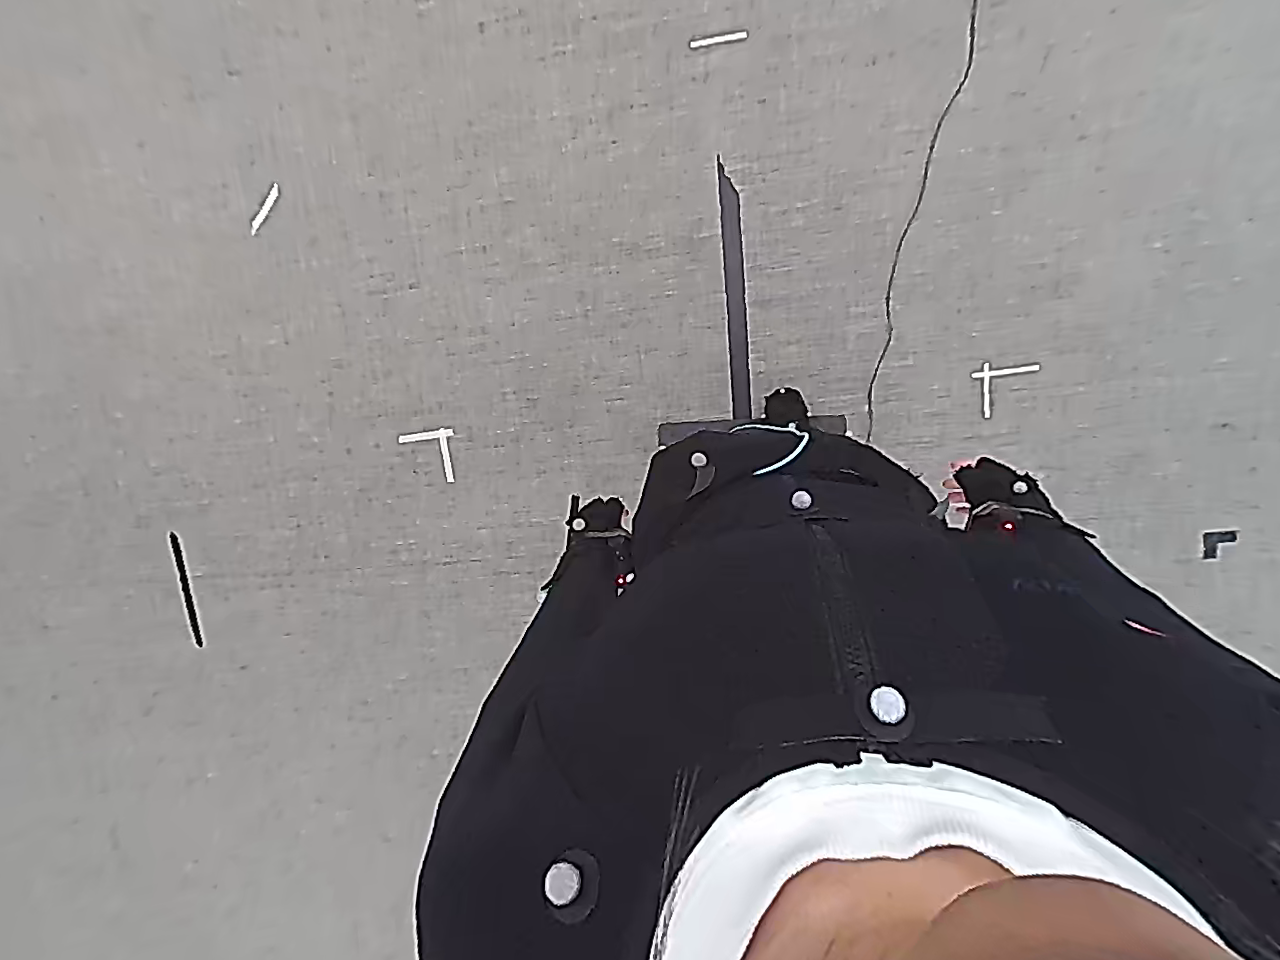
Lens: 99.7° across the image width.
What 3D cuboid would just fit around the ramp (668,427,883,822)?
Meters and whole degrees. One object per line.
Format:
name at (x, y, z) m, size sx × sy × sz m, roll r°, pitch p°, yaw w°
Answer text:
ramp at (0.338, 0.370, 1.422) m, size 0.509 × 0.206 × 0.991 m, roll -5°, pitch 95°, yaw 11°
